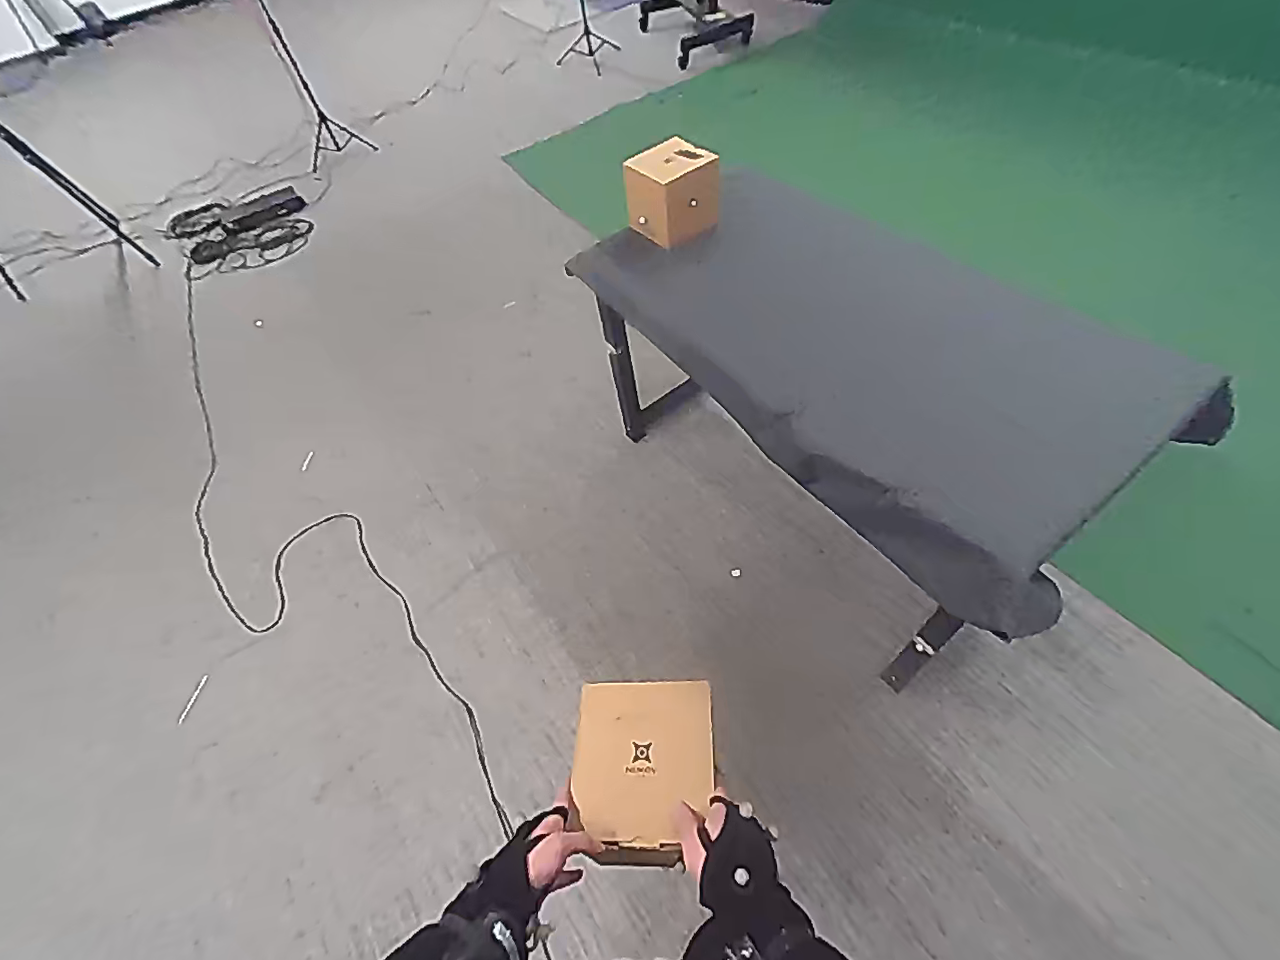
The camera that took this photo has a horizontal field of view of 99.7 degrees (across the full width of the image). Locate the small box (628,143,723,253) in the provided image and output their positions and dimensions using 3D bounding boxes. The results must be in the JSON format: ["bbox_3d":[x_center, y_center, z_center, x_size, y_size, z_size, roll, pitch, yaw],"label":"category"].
[{"bbox_3d":[0.090,-0.713,1.370,0.179,0.176,0.168,-35,57,-17],"label":"small box"}]

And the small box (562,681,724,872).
[{"bbox_3d":[0.014,0.368,0.669,0.168,0.176,0.179,-4,46,8],"label":"small box"}]
